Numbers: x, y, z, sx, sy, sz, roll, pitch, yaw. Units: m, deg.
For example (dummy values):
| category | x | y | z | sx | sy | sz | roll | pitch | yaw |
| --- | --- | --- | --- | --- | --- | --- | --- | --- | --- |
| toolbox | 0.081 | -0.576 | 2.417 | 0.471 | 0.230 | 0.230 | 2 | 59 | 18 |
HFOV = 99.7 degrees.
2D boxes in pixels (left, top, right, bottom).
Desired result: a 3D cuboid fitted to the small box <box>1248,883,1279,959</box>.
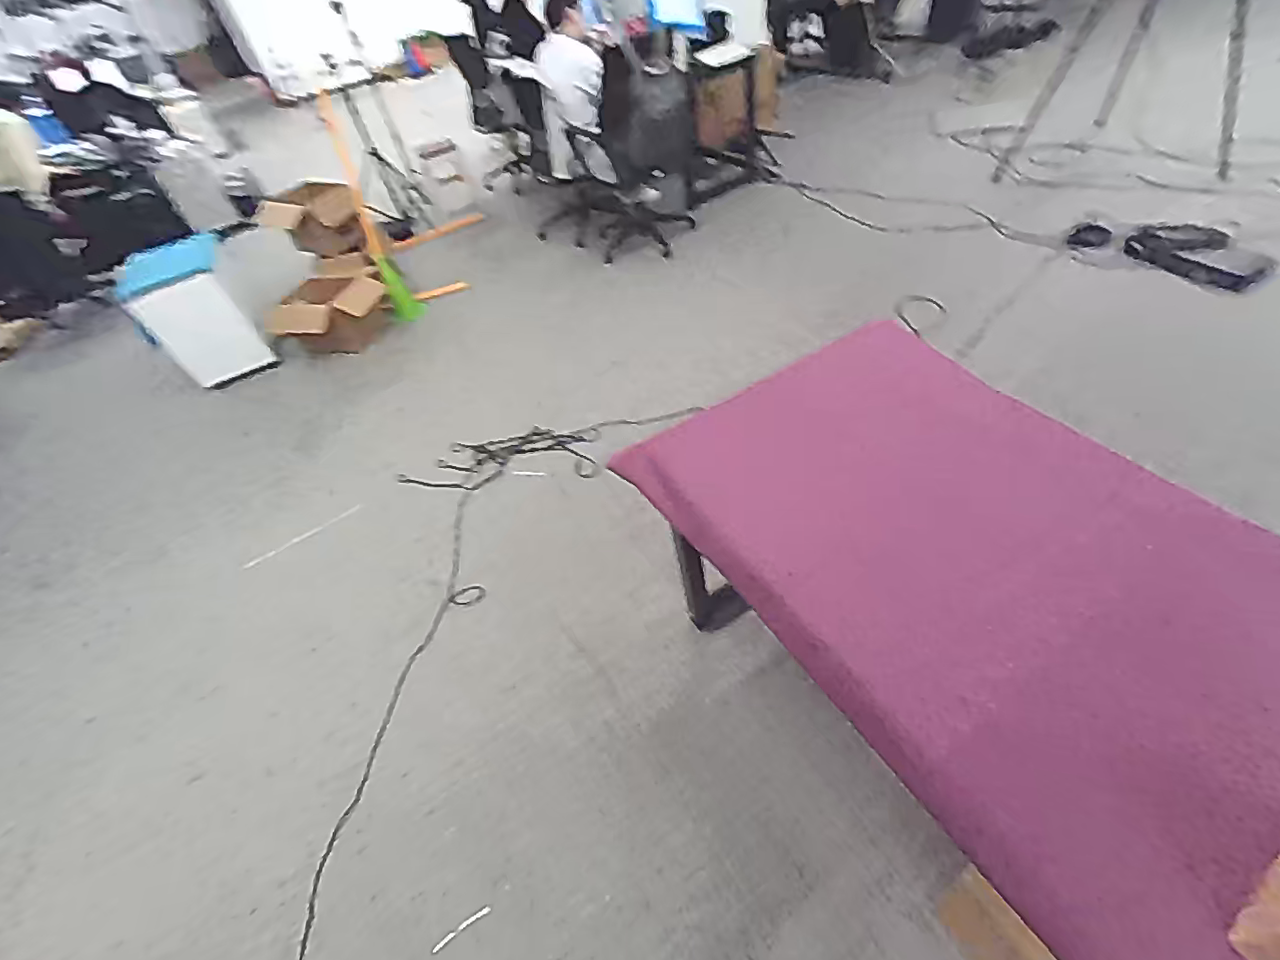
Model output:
| category | x | y | z | sx | sy | sz | roll | pitch | yaw |
| --- | --- | --- | --- | --- | --- | --- | --- | --- | --- |
| small box | 0.646 | 0.375 | 0.412 | 0.179 | 0.176 | 0.168 | -31 | 47 | -17 |
